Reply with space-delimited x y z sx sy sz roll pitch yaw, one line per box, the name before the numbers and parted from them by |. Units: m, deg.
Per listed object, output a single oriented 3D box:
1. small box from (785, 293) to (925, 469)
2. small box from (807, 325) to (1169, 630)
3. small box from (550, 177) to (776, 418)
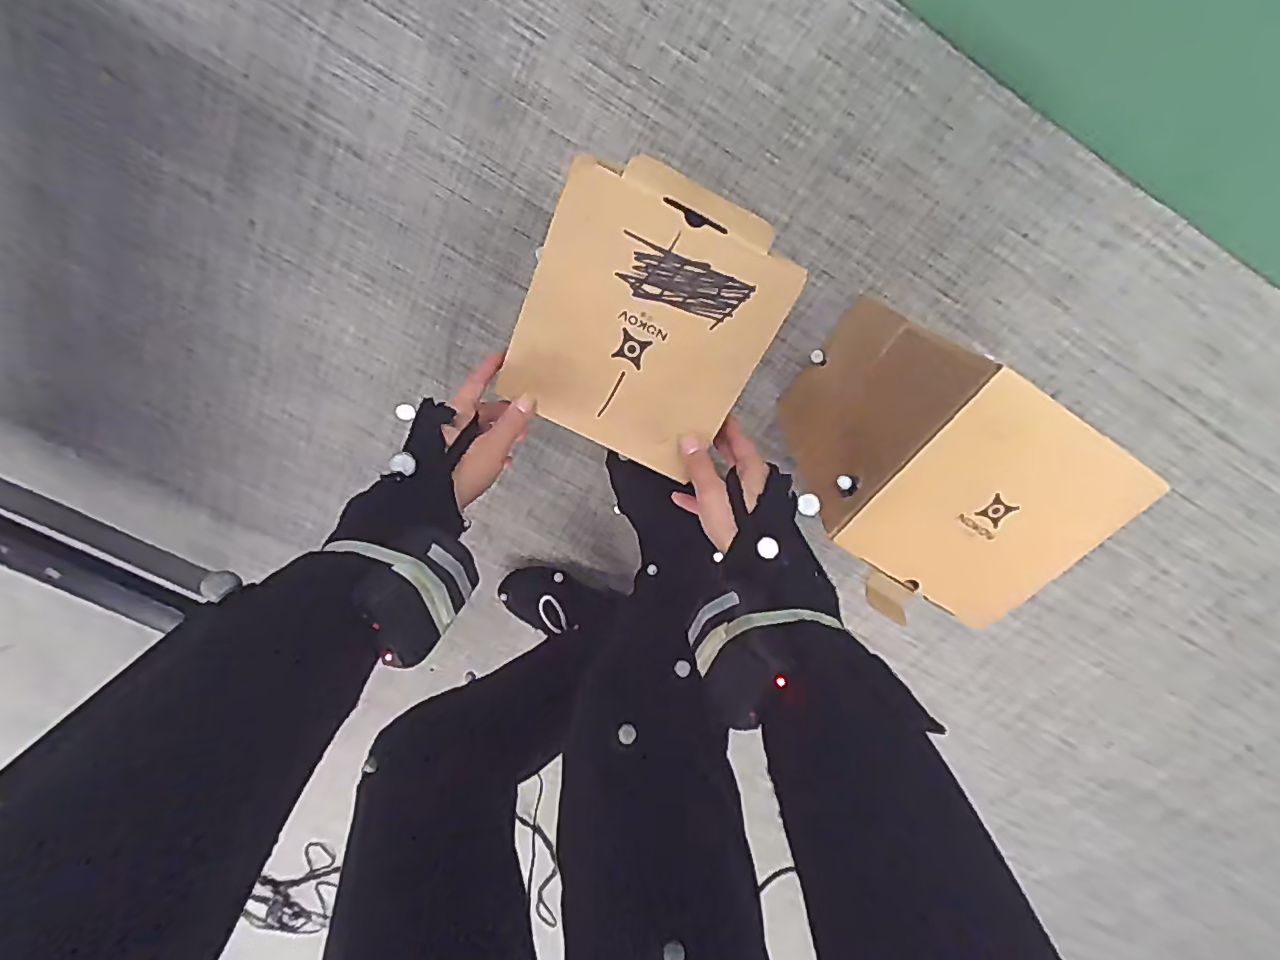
small box | 0.285 -0.087 0.621 0.168 0.176 0.179 29 118 -9
small box | 0.271 -0.012 0.476 0.168 0.176 0.179 30 116 -10
small box | 0.024 -0.202 0.592 0.168 0.176 0.179 26 118 -6
